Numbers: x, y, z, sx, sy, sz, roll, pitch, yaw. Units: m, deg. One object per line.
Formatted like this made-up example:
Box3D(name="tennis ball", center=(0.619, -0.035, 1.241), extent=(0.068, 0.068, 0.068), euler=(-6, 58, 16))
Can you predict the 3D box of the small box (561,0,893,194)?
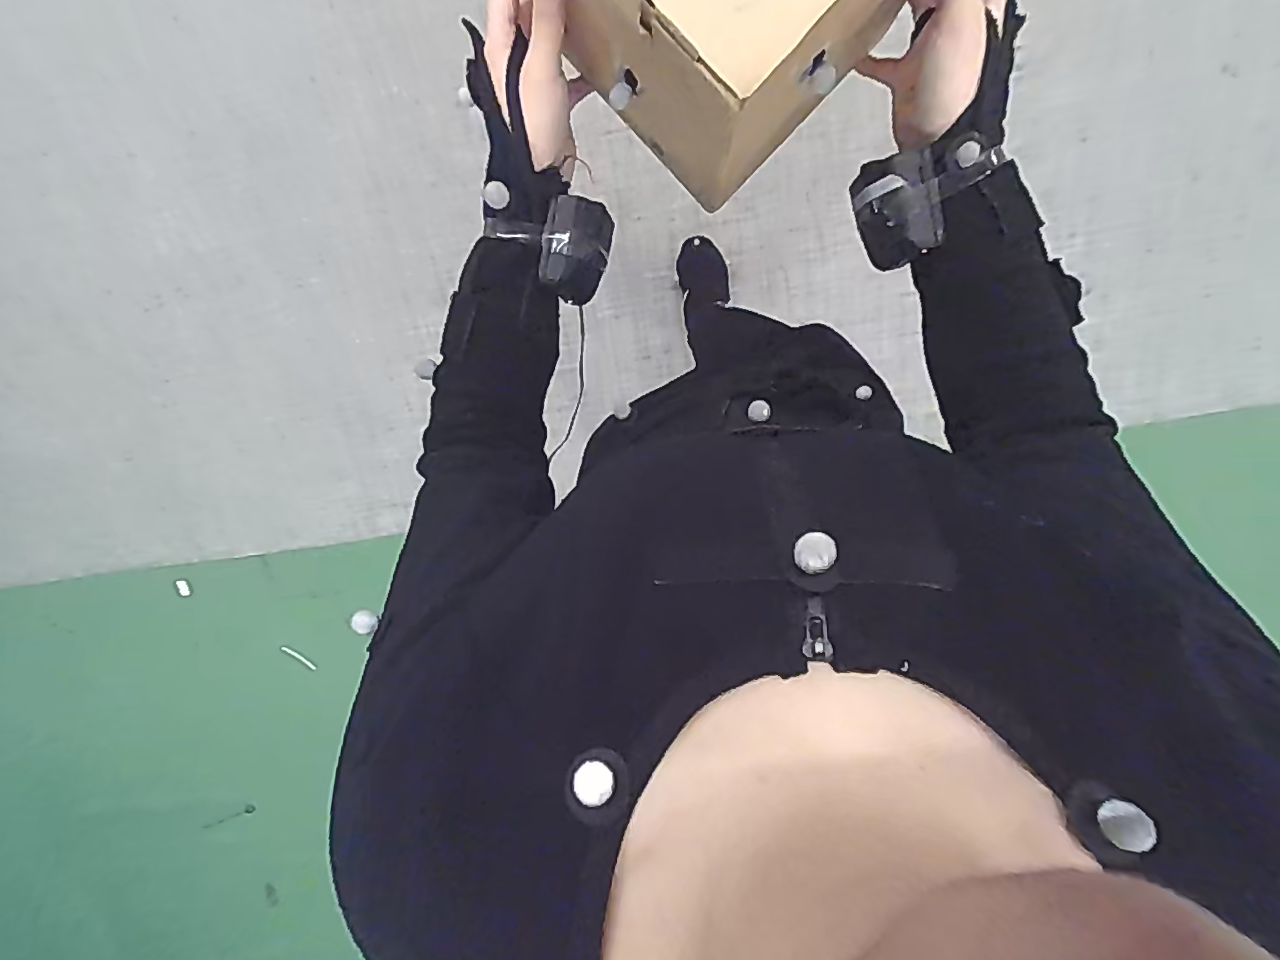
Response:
Box3D(name="small box", center=(0.056, -0.315, 0.324), extent=(0.179, 0.176, 0.168), euler=(-44, 95, 10))
